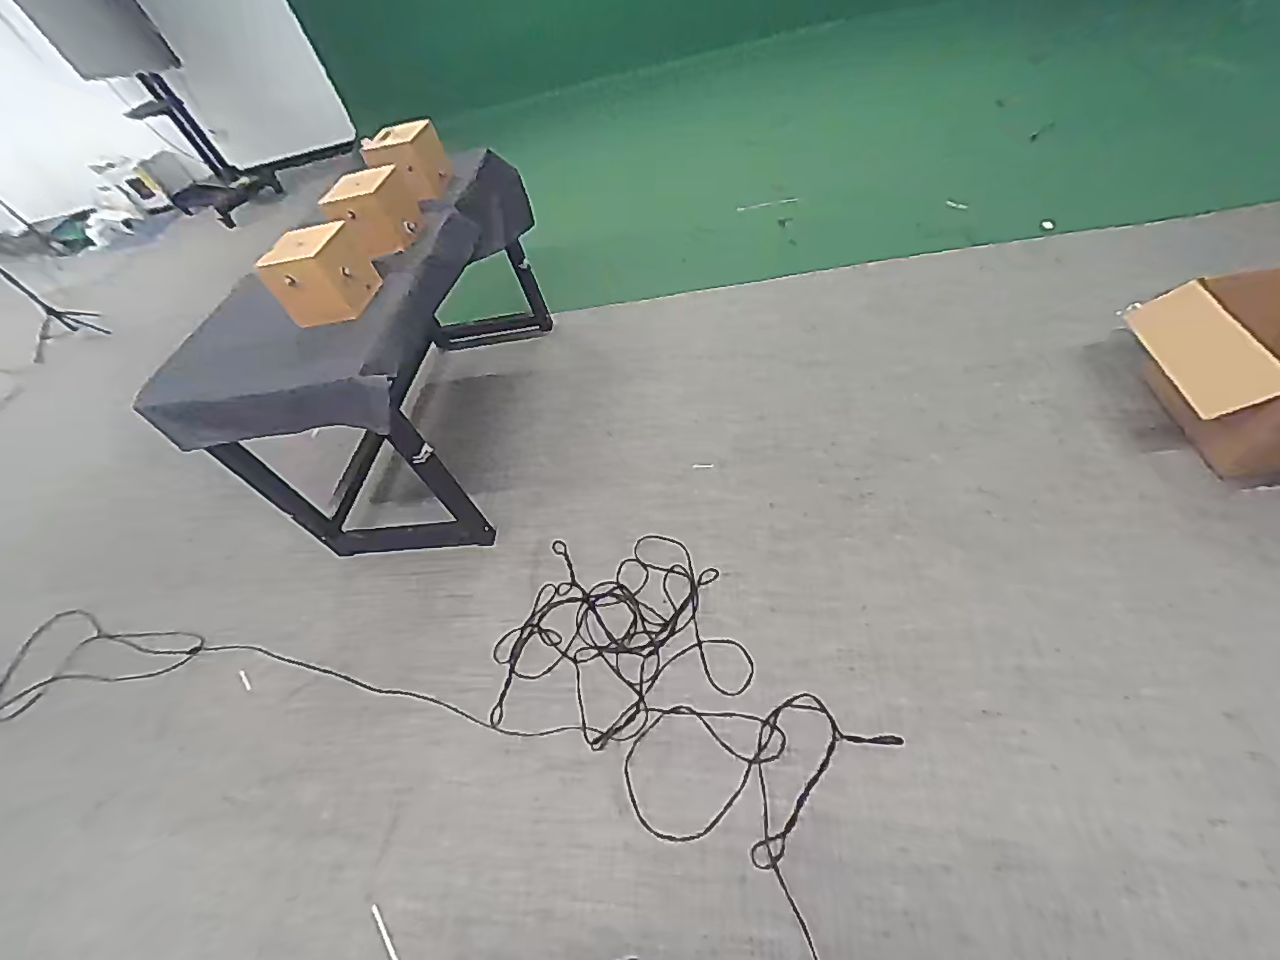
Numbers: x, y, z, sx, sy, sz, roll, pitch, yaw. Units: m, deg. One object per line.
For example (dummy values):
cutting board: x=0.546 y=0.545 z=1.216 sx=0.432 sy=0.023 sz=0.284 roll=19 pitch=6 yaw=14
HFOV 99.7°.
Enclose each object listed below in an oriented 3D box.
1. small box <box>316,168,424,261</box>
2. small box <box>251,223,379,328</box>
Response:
small box: x=-0.743 y=-0.733 z=1.506 sx=0.179 sy=0.176 sz=0.168 roll=-3 pitch=52 yaw=13
small box: x=-0.780 y=-0.494 z=1.320 sx=0.179 sy=0.176 sz=0.168 roll=-4 pitch=51 yaw=14
